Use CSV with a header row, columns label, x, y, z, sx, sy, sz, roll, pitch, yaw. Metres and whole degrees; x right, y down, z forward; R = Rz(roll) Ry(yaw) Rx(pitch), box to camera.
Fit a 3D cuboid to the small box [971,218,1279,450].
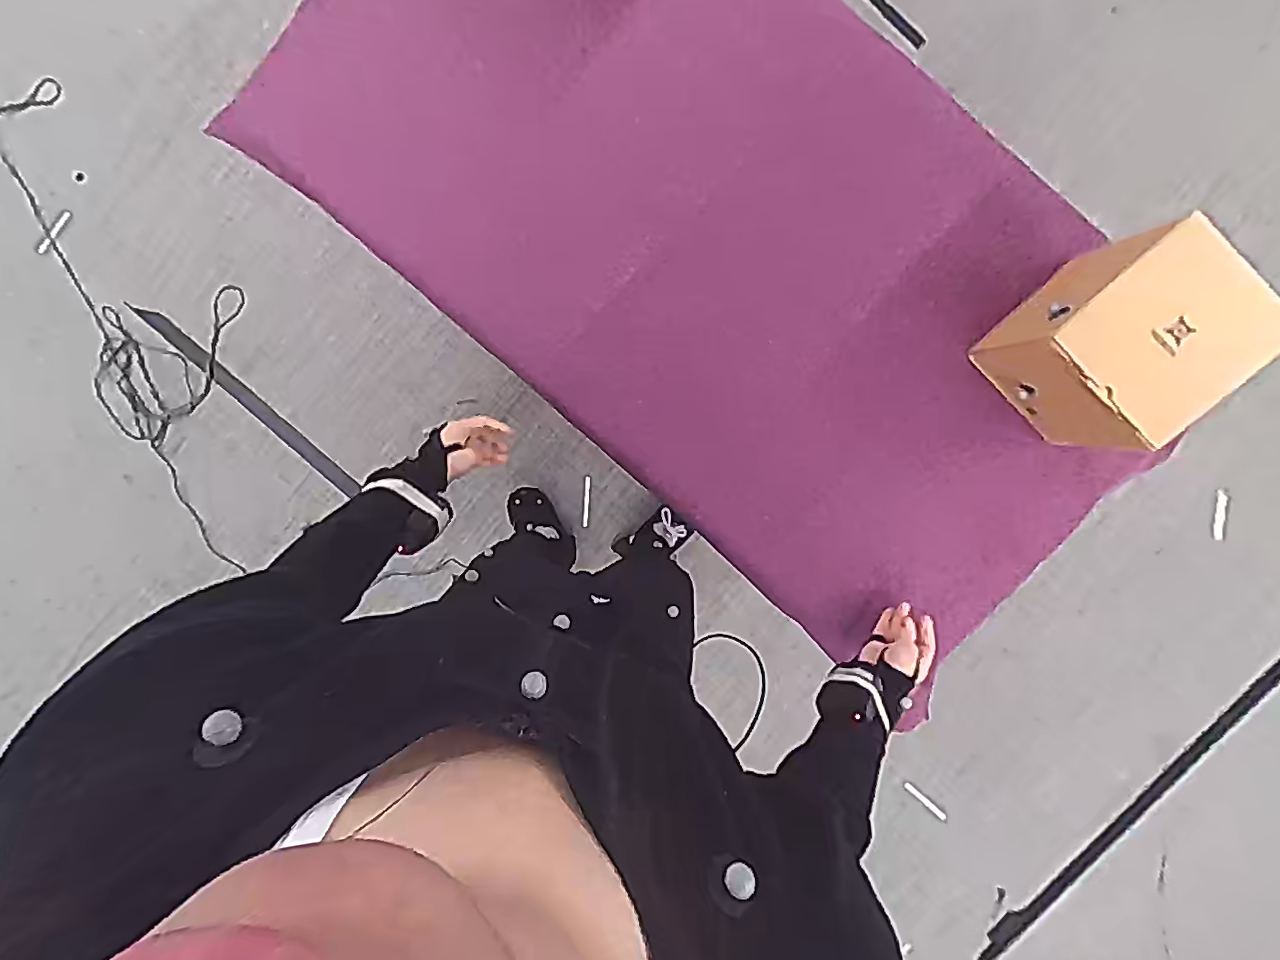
label,x,y,z,sx,sy,sz,roll,pitch,yaw
small box,0.542,-0.158,0.631,0.179,0.176,0.168,-44,92,9
